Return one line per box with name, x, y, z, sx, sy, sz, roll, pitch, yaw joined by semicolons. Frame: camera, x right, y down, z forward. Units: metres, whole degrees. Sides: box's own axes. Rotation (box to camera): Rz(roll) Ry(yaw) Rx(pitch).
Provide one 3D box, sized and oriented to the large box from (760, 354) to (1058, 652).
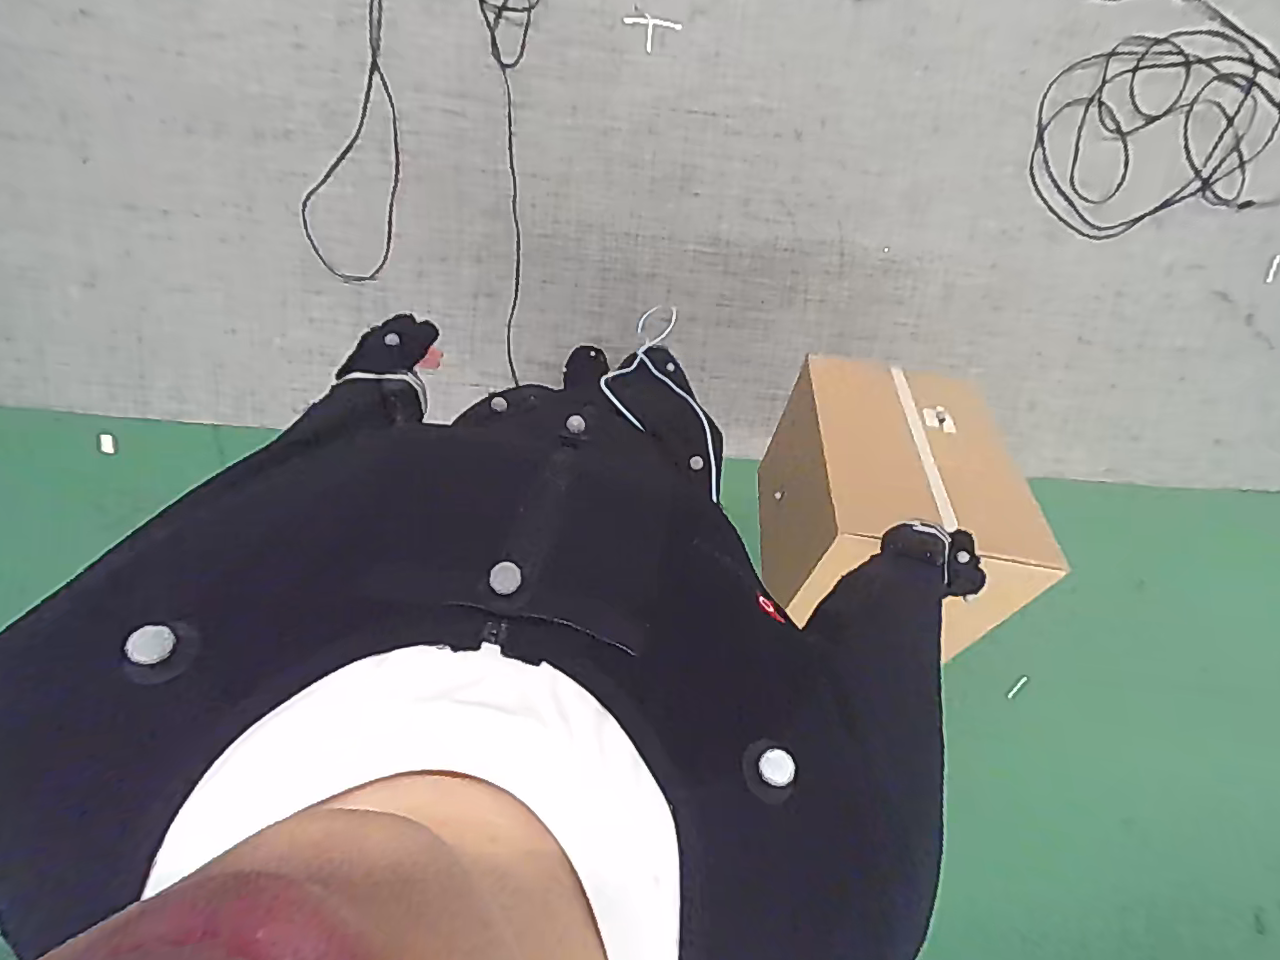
large box;0.411;0.041;0.956;0.320;0.408;0.320;10;138;-2
